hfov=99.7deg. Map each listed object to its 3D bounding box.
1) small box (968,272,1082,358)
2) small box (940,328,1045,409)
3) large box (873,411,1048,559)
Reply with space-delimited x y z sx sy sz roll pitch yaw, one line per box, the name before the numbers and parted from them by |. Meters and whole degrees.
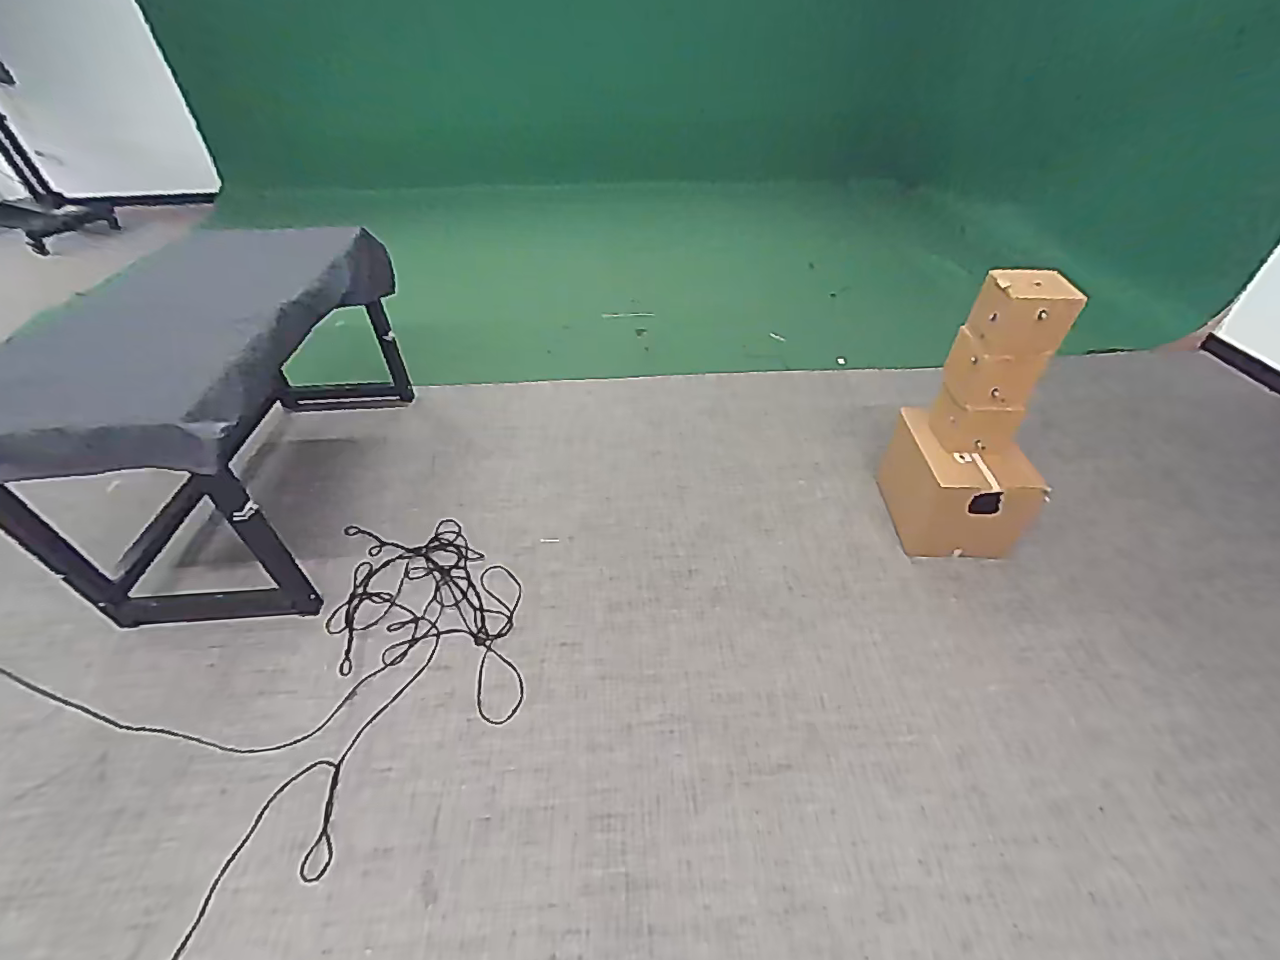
small box | 1.016 -0.442 1.452 0.179 0.176 0.168 3 45 2
small box | 1.006 -0.323 1.563 0.168 0.176 0.179 0 43 0
large box | 1.025 0.012 1.800 0.320 0.320 0.408 0 44 2
